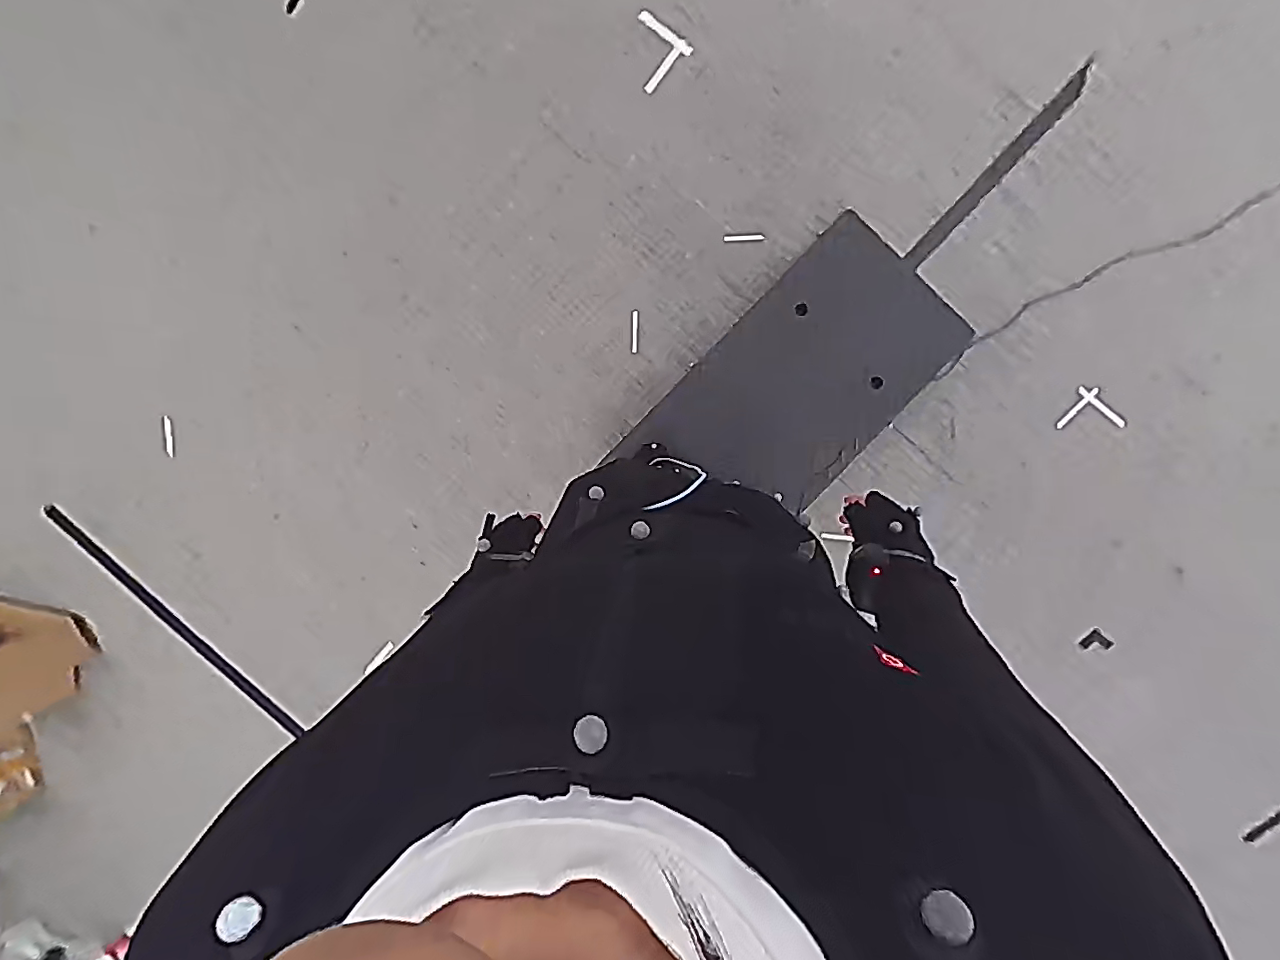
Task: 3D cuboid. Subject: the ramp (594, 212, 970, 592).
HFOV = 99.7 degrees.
[{"bbox_3d":[0.385,-0.217,1.468,0.509,0.206,0.991,42,99,1],"label":"ramp"}]
